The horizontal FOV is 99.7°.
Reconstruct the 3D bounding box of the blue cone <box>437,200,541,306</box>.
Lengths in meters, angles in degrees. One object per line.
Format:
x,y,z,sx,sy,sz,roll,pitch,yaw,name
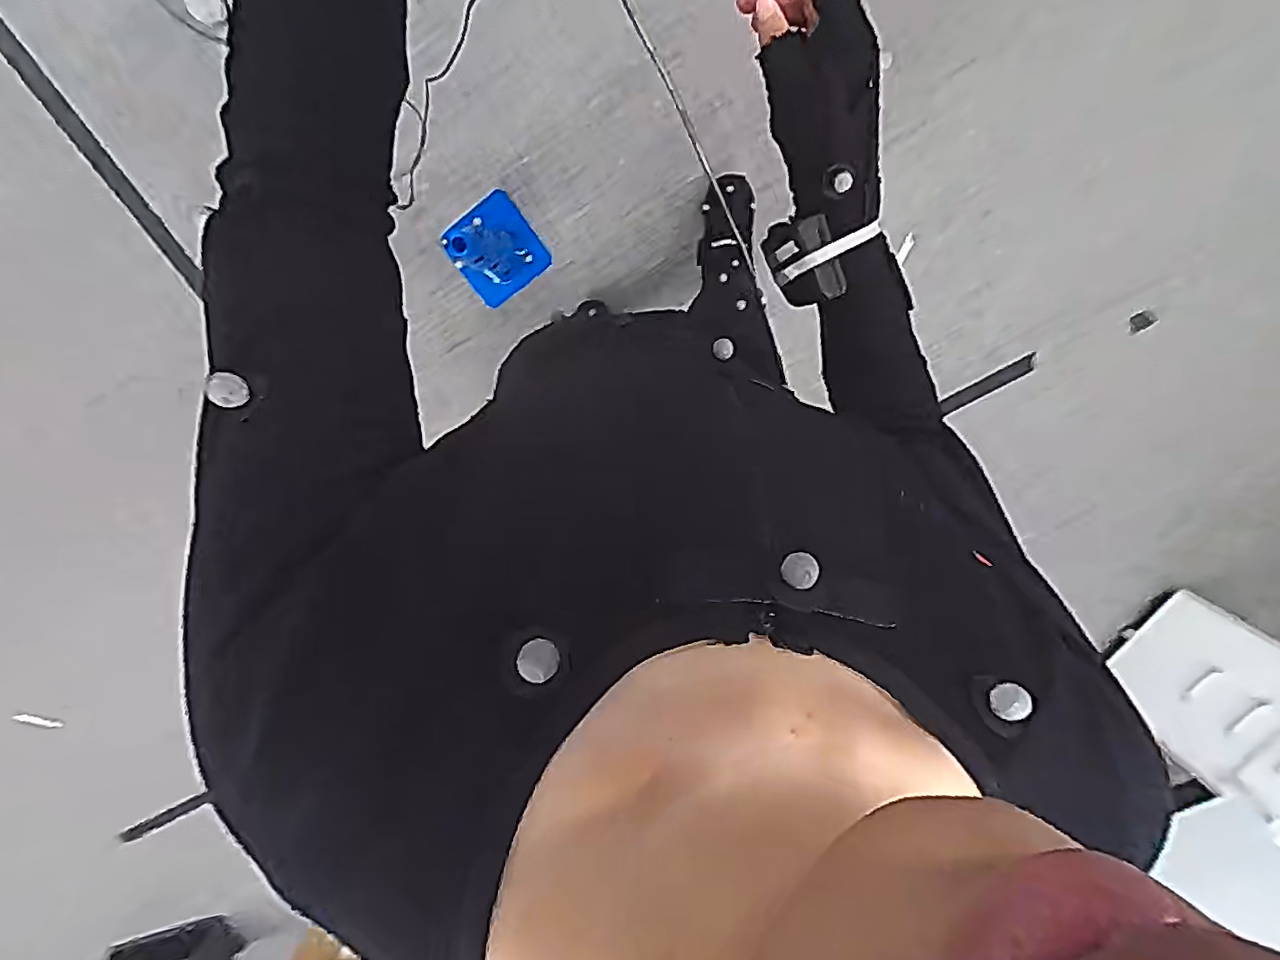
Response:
-0.341,-0.473,1.121,0.192,0.380,0.193,-33,110,10,blue cone
